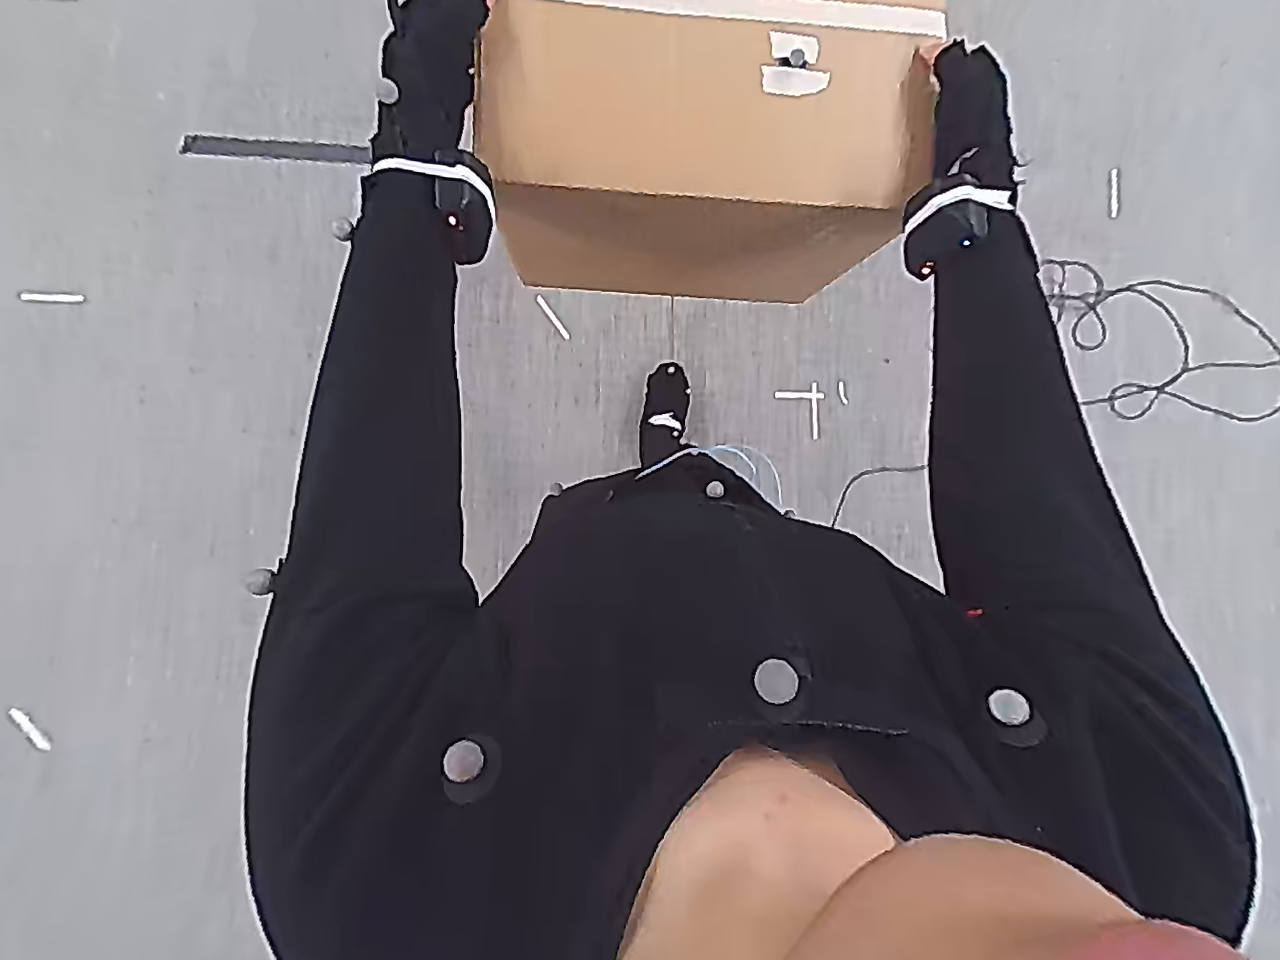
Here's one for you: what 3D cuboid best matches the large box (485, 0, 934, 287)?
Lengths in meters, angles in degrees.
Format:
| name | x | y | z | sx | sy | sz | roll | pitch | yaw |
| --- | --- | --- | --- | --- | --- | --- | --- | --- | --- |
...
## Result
| name | x | y | z | sx | sy | sz | roll | pitch | yaw |
| --- | --- | --- | --- | --- | --- | --- | --- | --- | --- |
| large box | 0.052 | -0.426 | 0.619 | 0.408 | 0.320 | 0.320 | 2 | 94 | -5 |
